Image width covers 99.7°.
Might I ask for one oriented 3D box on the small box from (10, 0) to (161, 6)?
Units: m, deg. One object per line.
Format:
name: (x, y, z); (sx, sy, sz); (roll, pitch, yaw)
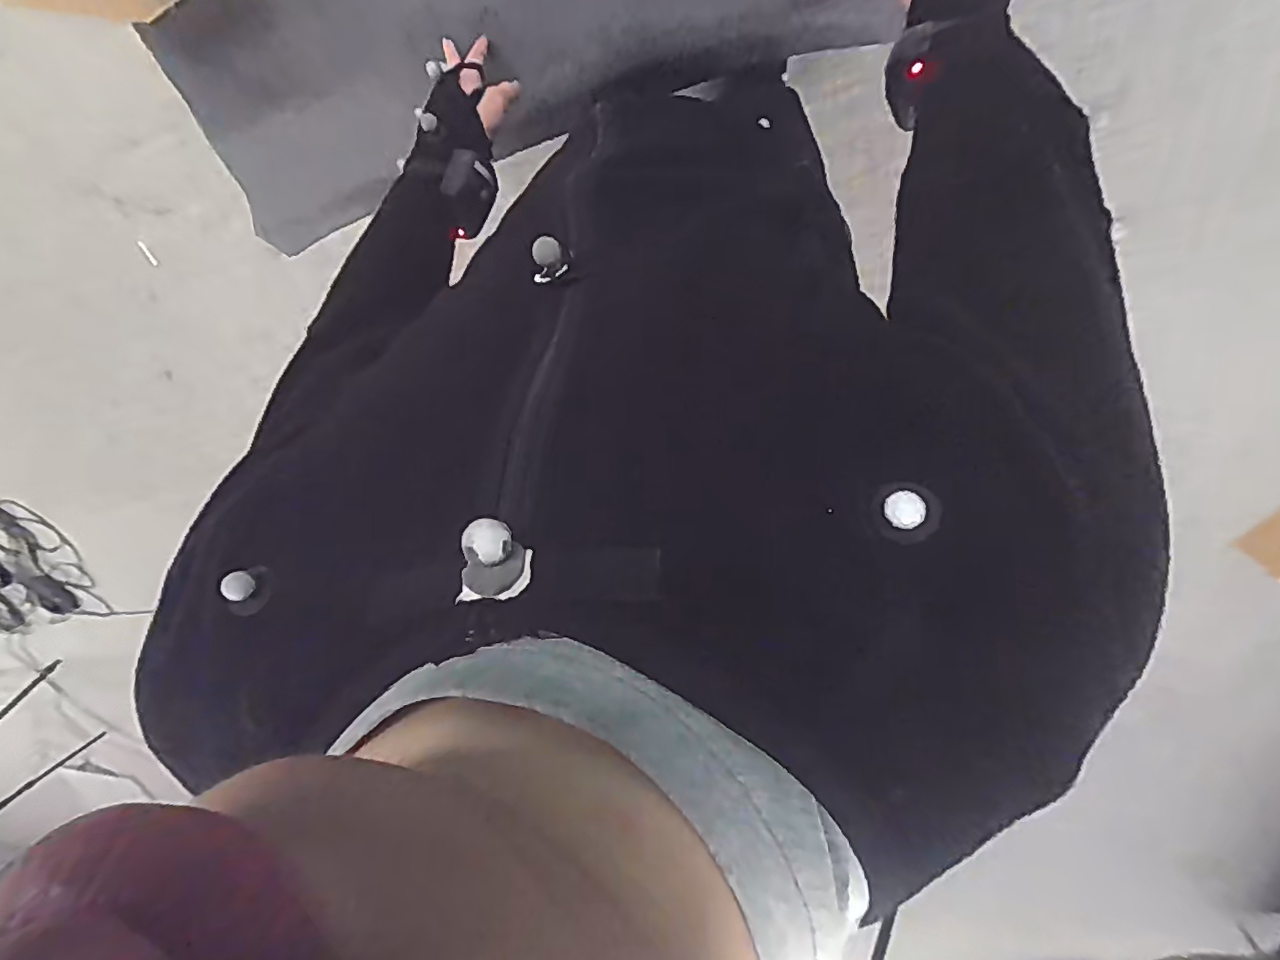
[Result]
small box: (-0.515, -0.559, 0.476); (0.168, 0.176, 0.179); (-15, 122, 18)
